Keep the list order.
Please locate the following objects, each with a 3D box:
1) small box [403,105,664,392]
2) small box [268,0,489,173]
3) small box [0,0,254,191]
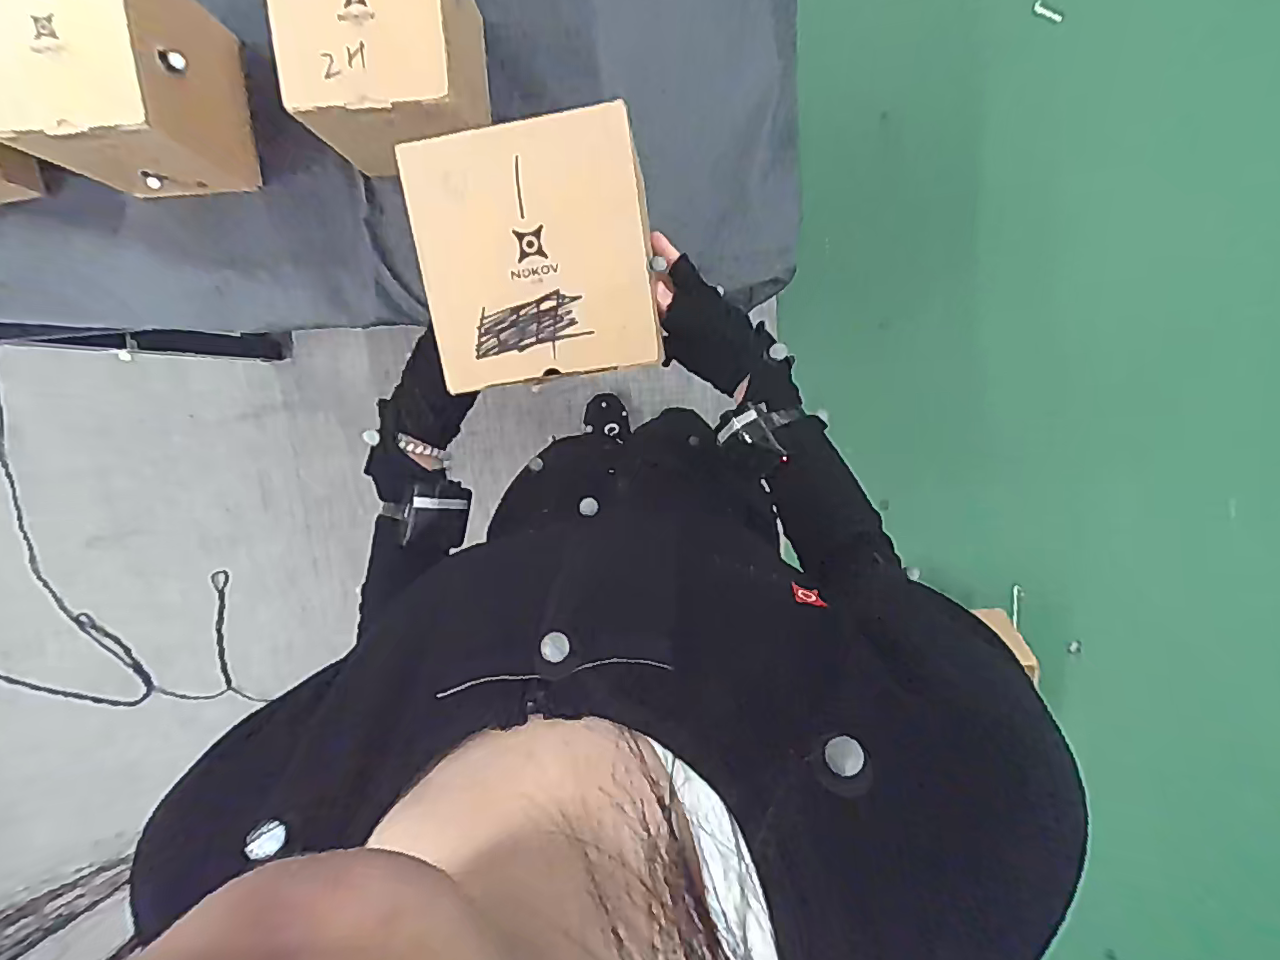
[{"bbox_3d":[-0.070,-0.179,0.465,0.168,0.176,0.179,-7,103,5],"label":"small box"},{"bbox_3d":[-0.268,-0.461,0.587,0.168,0.176,0.179,-3,100,0],"label":"small box"},{"bbox_3d":[-0.566,-0.439,0.587,0.168,0.176,0.179,-4,100,-1],"label":"small box"}]
